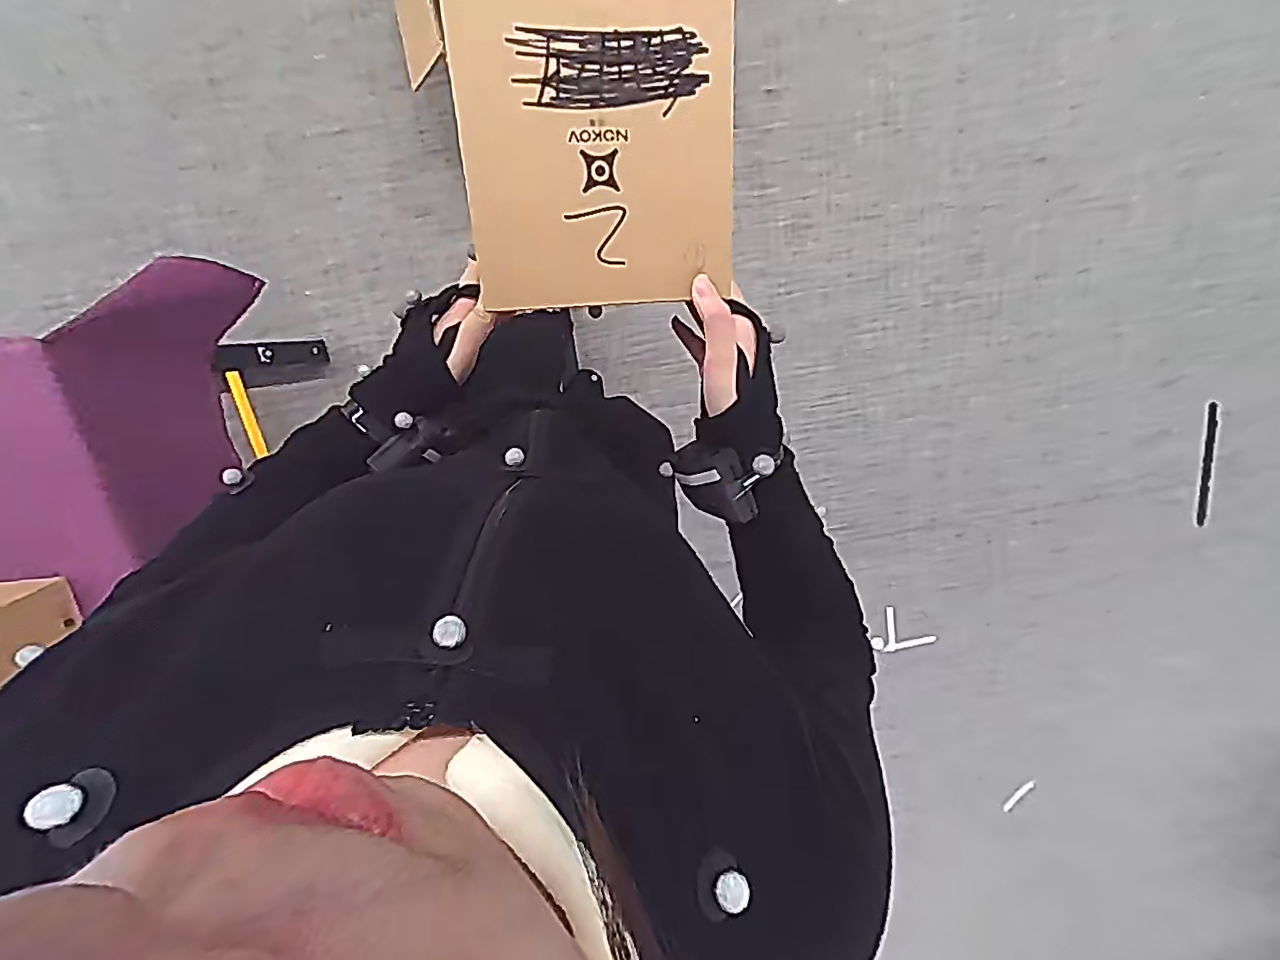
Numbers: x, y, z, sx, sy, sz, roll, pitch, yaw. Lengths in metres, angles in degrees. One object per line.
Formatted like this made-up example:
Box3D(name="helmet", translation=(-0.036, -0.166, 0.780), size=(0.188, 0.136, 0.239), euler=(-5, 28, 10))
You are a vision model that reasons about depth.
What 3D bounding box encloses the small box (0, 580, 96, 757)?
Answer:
Box3D(name="small box", translation=(-0.841, 0.235, 0.668), size=(0.179, 0.176, 0.168), euler=(-5, 106, -2))
